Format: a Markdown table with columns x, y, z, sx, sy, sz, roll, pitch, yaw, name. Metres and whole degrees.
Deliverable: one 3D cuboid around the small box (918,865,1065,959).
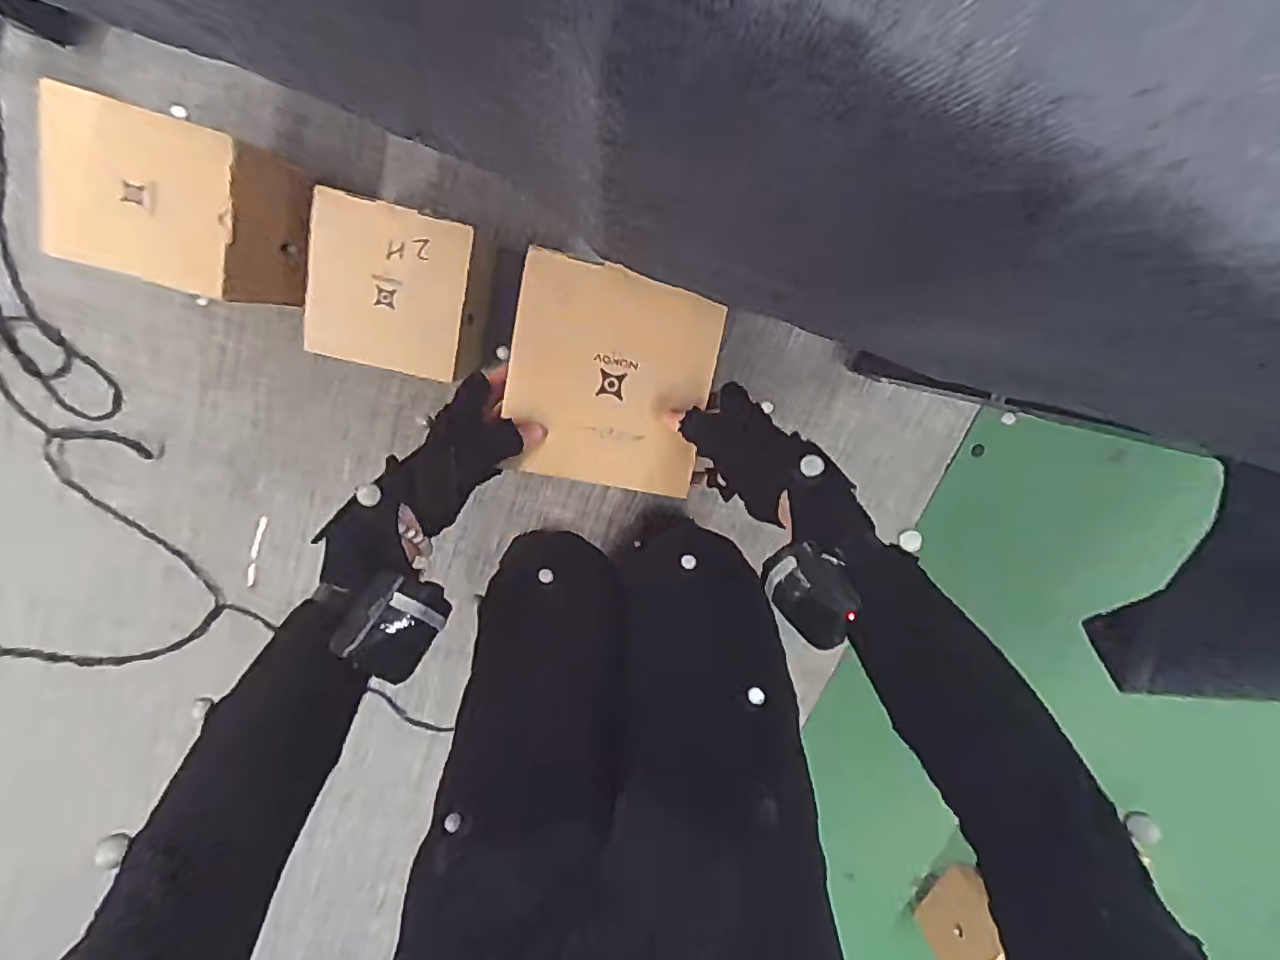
| x | y | z | sx | sy | sz | roll | pitch | yaw | name |
| --- | --- | --- | --- | --- | --- | --- | --- | --- | --- |
| 0.722 | 0.961 | 1.132 | 0.168 | 0.176 | 0.179 | 21 | 104 | -11 | small box |
